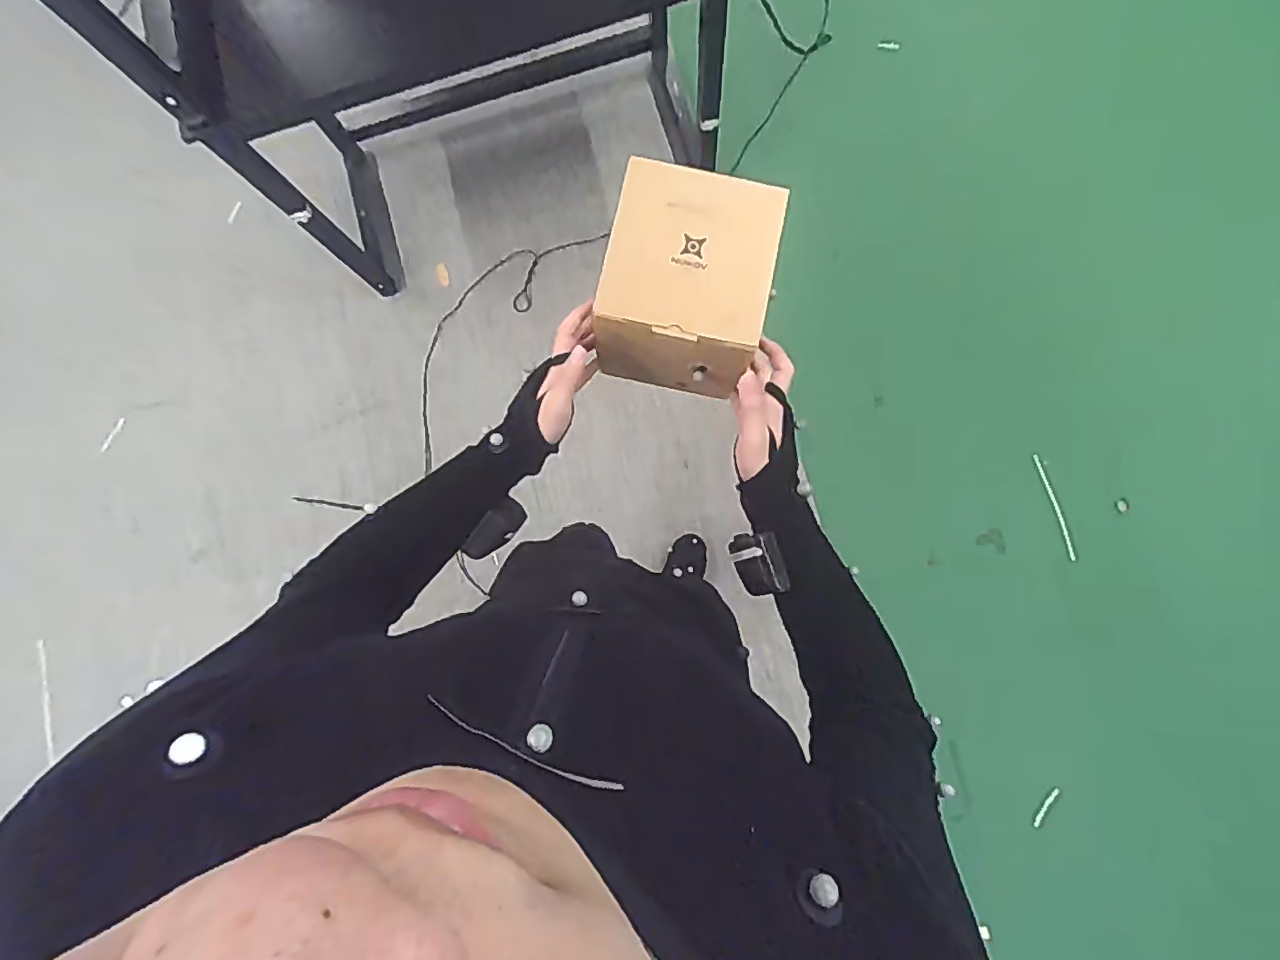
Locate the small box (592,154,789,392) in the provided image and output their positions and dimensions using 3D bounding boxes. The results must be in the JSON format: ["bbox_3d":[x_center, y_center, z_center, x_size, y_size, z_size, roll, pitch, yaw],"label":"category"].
[{"bbox_3d":[0.050,-0.214,0.606,0.168,0.176,0.179,13,81,0],"label":"small box"}]
